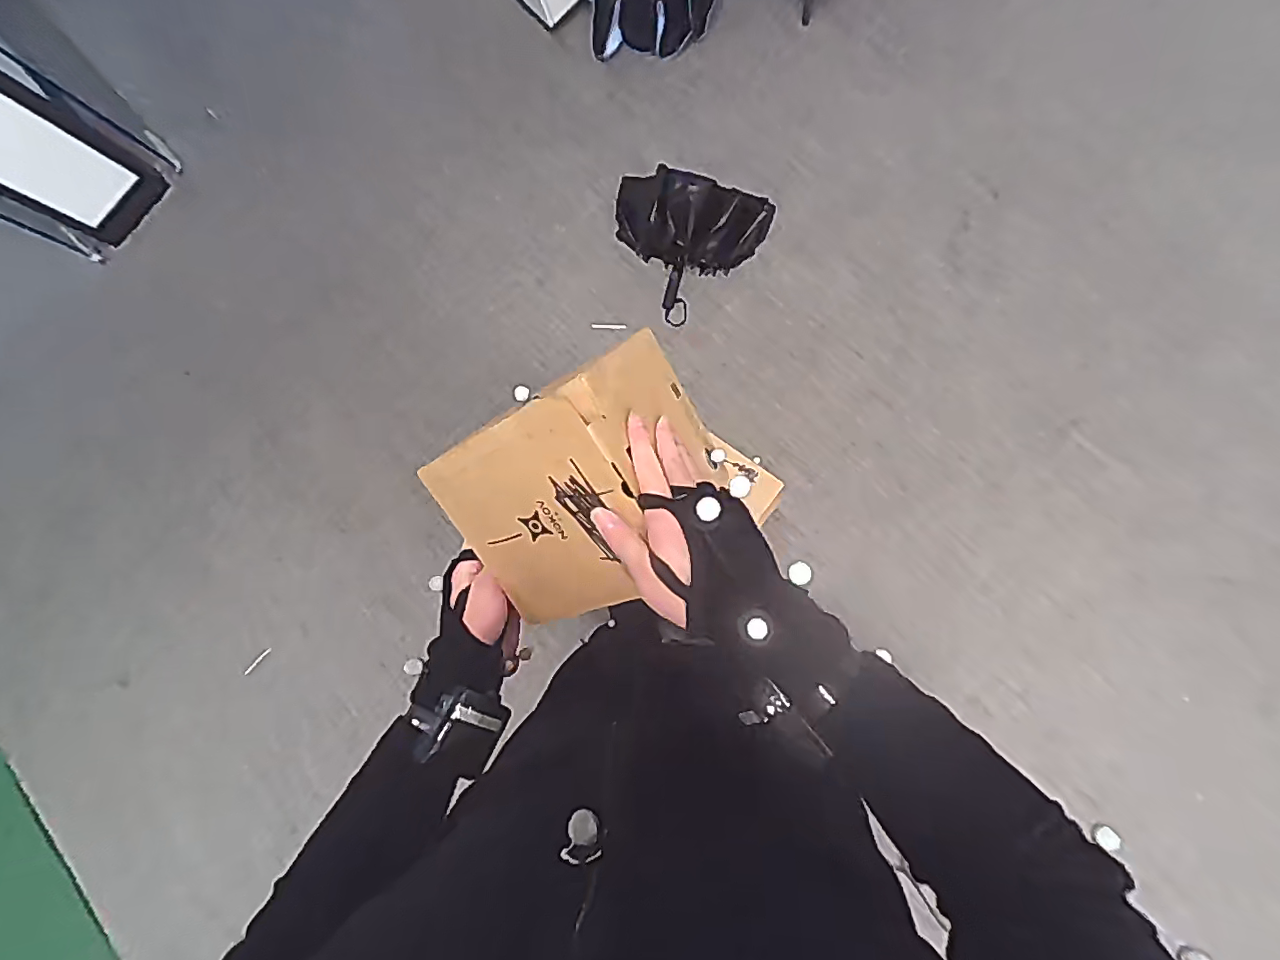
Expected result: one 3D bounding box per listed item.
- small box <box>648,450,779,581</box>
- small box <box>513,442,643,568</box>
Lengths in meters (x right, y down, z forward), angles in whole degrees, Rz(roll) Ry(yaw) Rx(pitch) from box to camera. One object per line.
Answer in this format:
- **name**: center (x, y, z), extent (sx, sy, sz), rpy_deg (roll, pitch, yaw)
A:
- **small box**: center (0.142, 0.072, 1.021), extent (0.168, 0.176, 0.179), rpy_deg (36, 89, 13)
- **small box**: center (-0.112, 0.051, 1.073), extent (0.168, 0.176, 0.179), rpy_deg (39, 95, 14)
